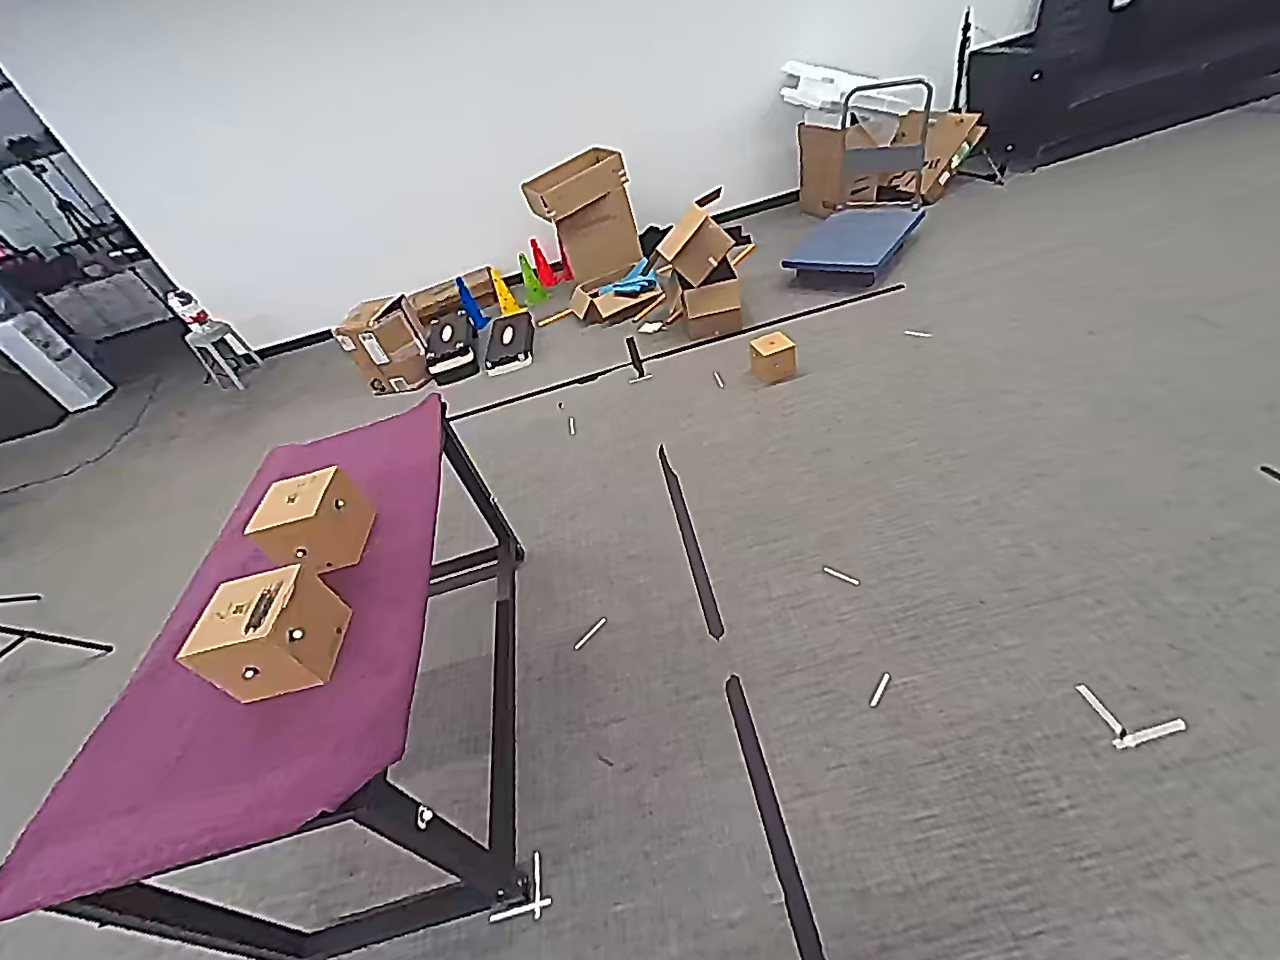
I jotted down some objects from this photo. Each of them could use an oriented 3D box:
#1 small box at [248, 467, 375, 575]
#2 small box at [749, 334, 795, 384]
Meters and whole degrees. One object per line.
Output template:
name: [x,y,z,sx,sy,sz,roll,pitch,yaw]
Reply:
small box: [-0.752,0.103,1.265,0.168,0.176,0.179,-14,40,3]
small box: [0.667,-0.602,2.712,0.168,0.176,0.179,-21,40,-4]
